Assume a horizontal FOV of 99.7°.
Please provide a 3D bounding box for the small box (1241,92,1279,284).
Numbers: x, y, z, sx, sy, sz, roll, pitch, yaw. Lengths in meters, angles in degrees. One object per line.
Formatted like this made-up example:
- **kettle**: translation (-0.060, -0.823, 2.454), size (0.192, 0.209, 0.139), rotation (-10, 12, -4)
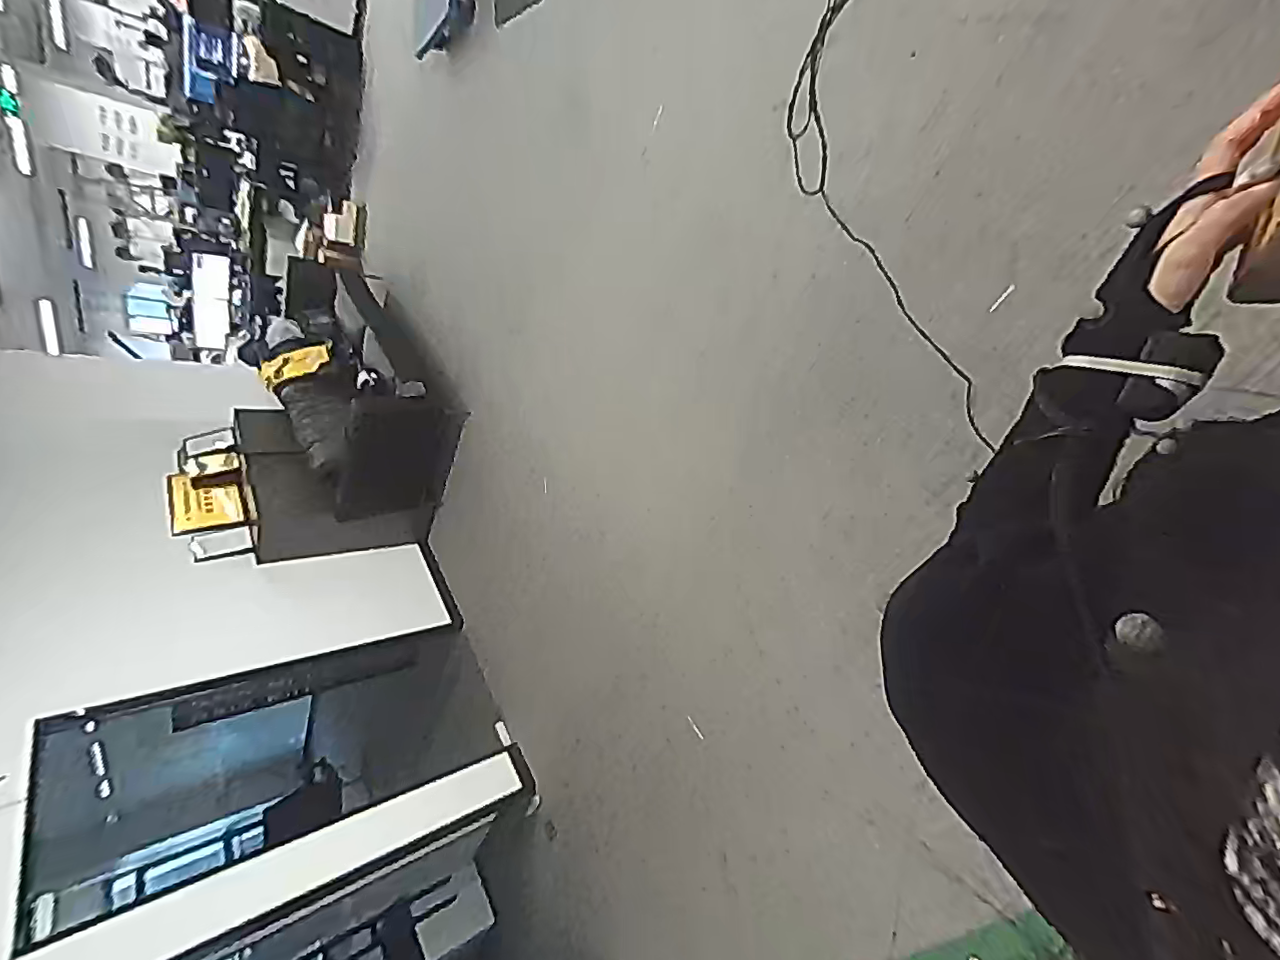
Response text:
- **small box**: translation (0.465, -0.216, 0.284), size (0.168, 0.176, 0.179), rotation (13, 101, 40)
